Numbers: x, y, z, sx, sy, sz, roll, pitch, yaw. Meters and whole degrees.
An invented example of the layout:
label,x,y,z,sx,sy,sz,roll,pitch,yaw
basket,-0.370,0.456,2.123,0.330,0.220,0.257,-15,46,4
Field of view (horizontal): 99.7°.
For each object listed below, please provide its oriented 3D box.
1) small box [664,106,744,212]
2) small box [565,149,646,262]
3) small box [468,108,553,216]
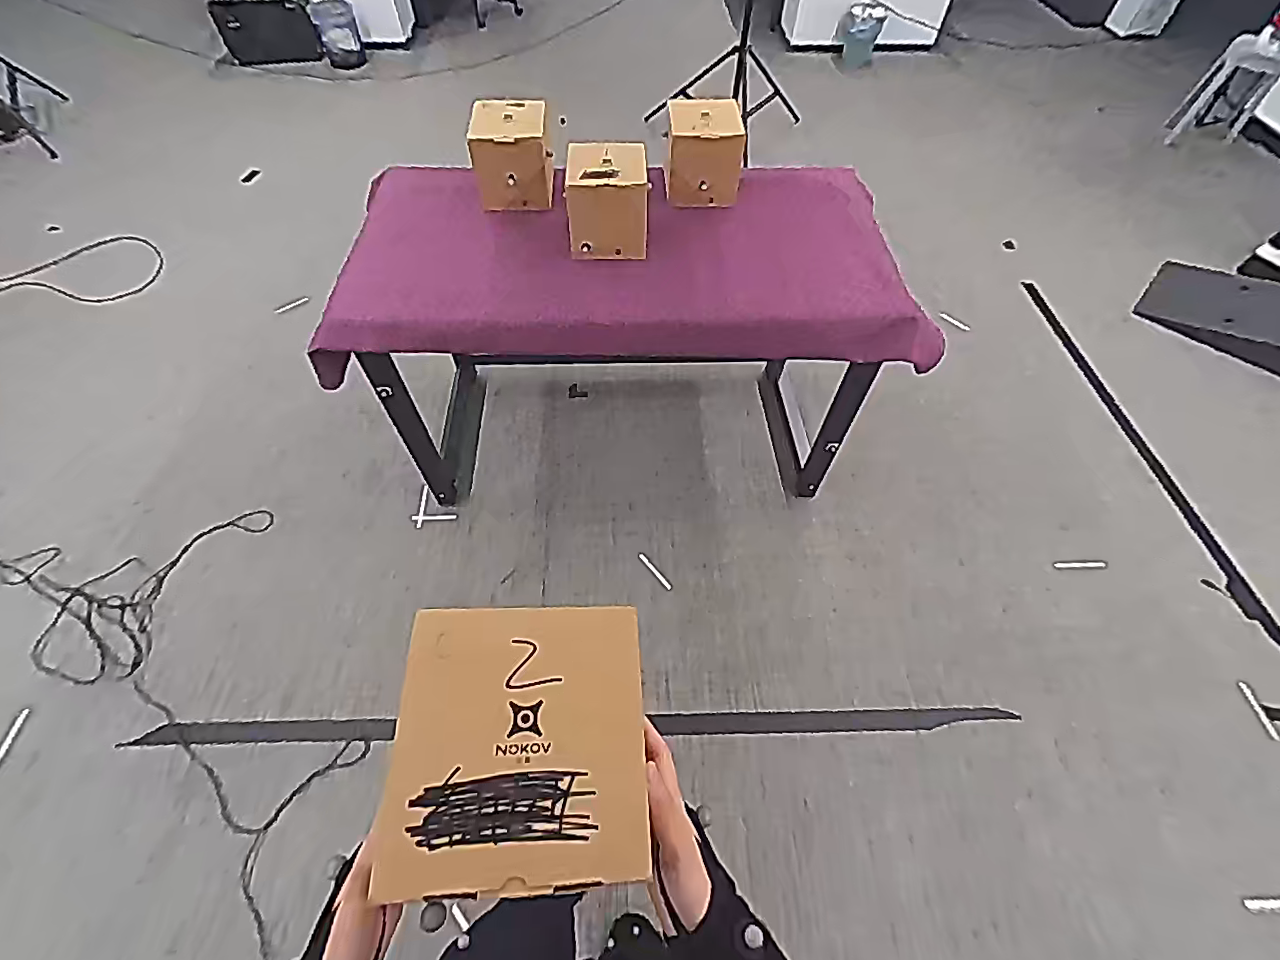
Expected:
label,x,y,z,sx,sy,sz,roll,pitch,yaw
small box,0.148,-0.778,1.313,0.168,0.176,0.179,-2,57,-1
small box,-0.071,-0.599,1.192,0.168,0.176,0.179,-1,55,-2
small box,-0.300,-0.754,1.290,0.168,0.176,0.179,-2,58,-3
